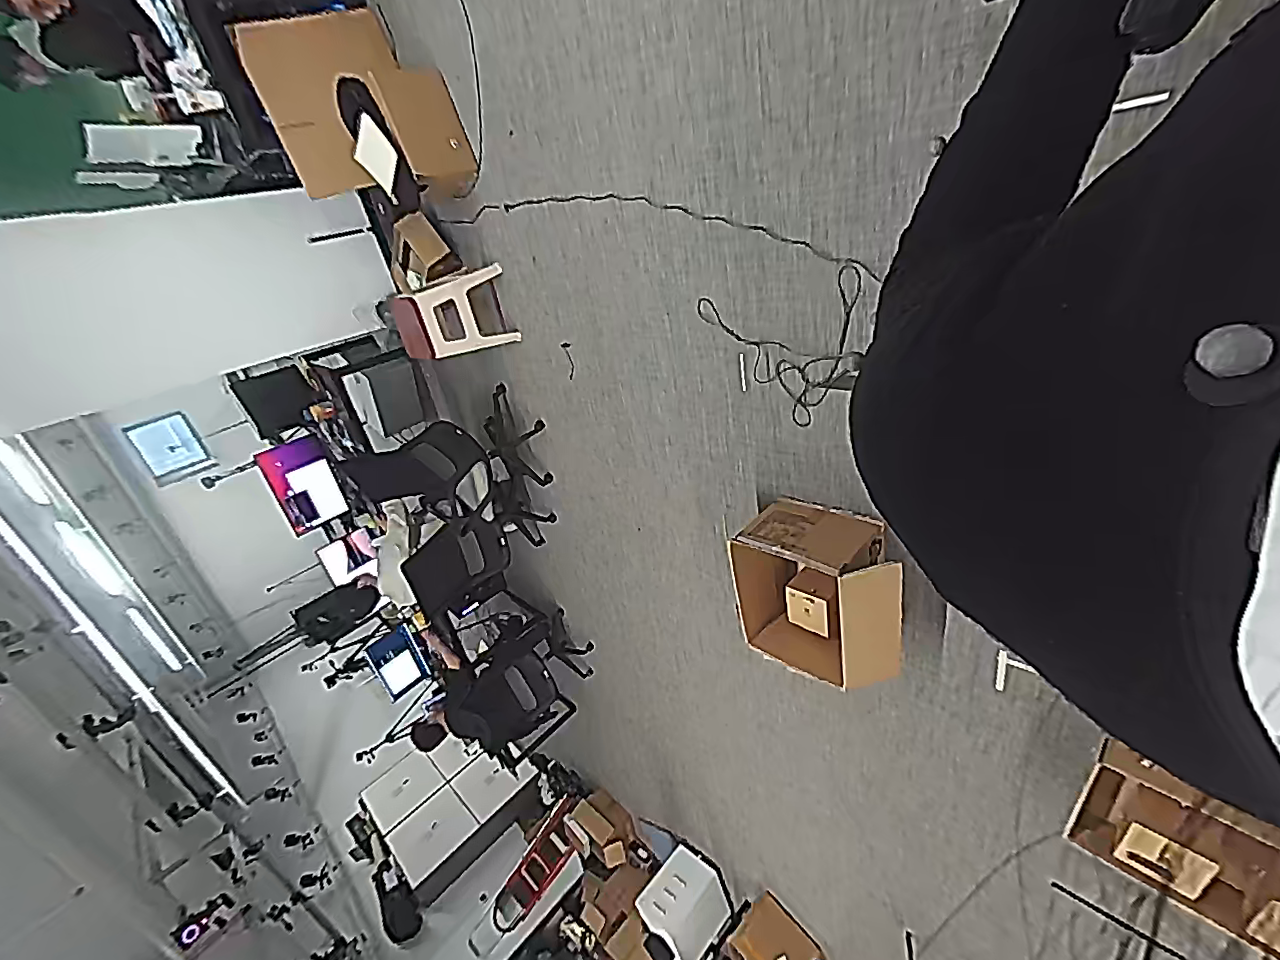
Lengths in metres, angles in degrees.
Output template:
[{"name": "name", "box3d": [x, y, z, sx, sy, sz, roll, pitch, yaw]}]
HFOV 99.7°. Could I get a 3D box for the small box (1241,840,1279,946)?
[{"name": "small box", "box3d": [1.602, 1.021, 1.292, 0.179, 0.176, 0.168, 23, 131, 41]}]
